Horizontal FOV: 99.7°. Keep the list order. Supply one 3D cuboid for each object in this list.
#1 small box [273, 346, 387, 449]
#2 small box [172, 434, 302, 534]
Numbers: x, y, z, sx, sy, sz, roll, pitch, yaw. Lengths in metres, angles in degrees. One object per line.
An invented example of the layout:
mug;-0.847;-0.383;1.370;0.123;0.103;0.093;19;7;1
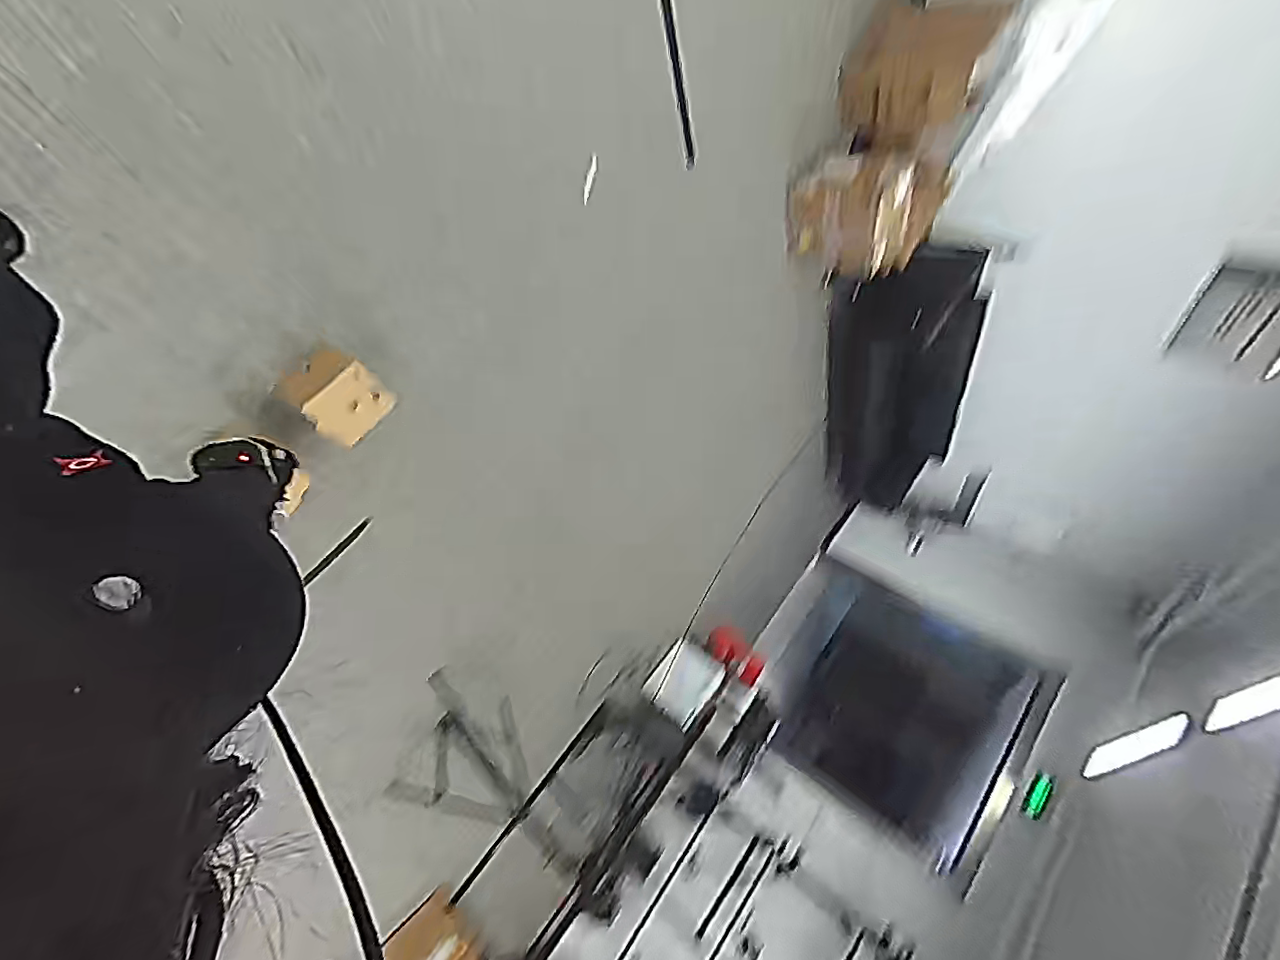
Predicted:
small box;-0.810;-0.217;1.404;0.179;0.176;0.168;-49;146;-19
small box;-0.989;0.008;1.328;0.168;0.176;0.179;-59;147;-5
